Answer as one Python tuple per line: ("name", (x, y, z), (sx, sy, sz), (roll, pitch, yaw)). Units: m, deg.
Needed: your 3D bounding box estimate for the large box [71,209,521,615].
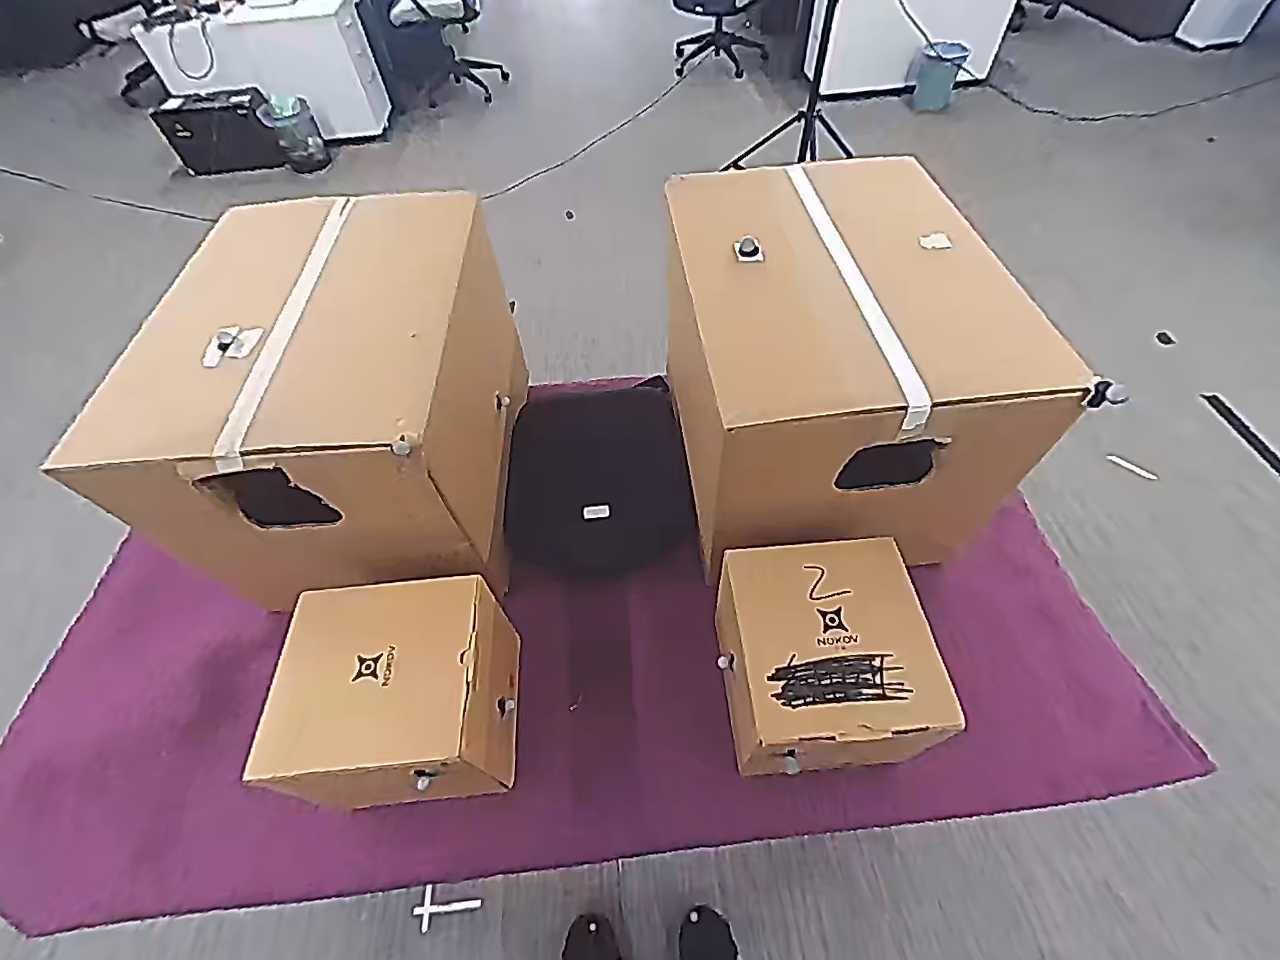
("large box", (-0.339, -0.081, 0.687), (0.320, 0.320, 0.408), (-5, 56, 0))
